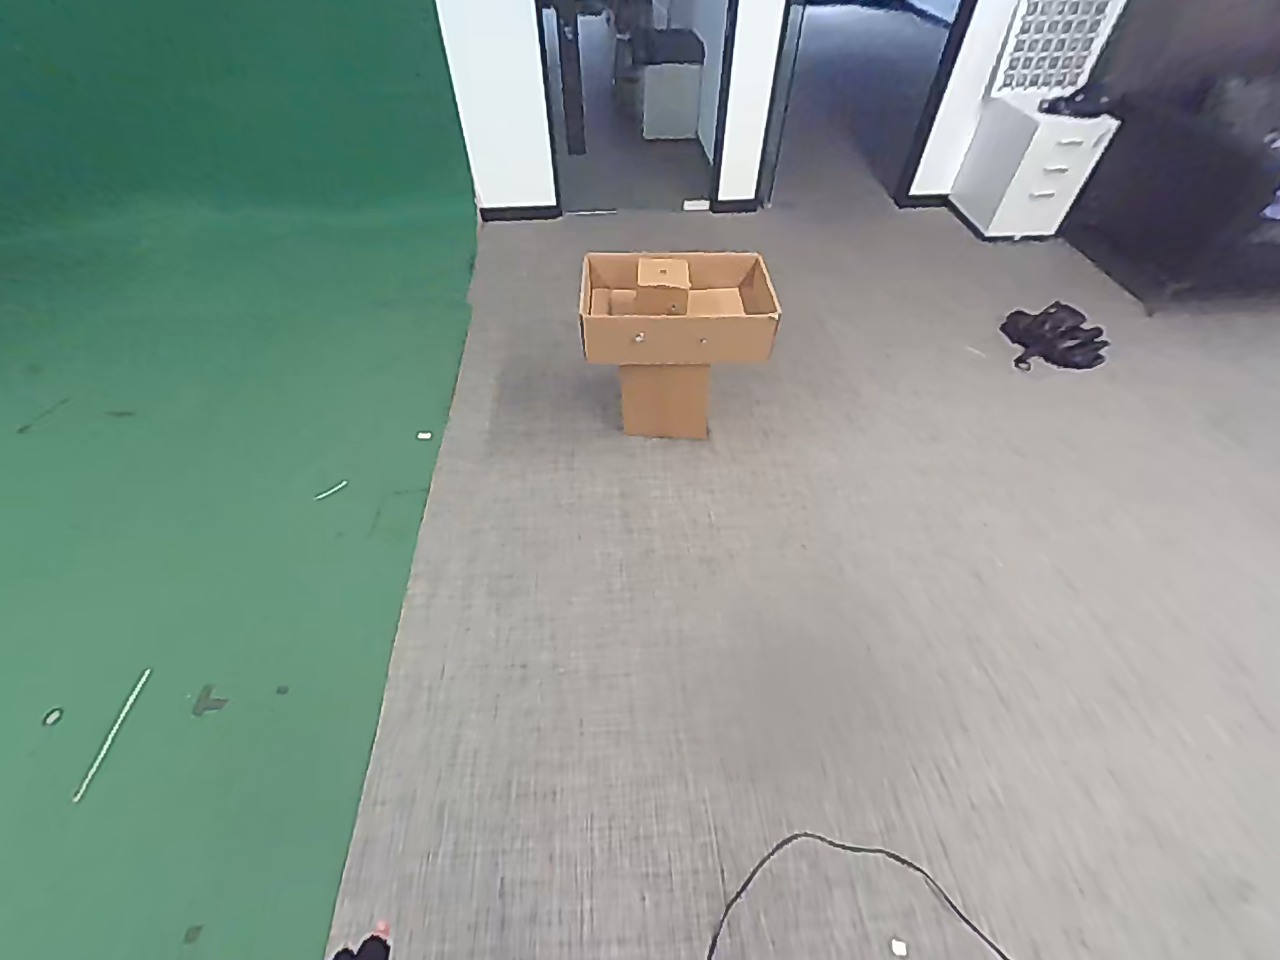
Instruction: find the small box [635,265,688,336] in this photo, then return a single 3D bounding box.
[{"bbox_3d":[0.072,-0.601,1.811,0.168,0.176,0.179,2,47,-2],"label":"small box"}]
